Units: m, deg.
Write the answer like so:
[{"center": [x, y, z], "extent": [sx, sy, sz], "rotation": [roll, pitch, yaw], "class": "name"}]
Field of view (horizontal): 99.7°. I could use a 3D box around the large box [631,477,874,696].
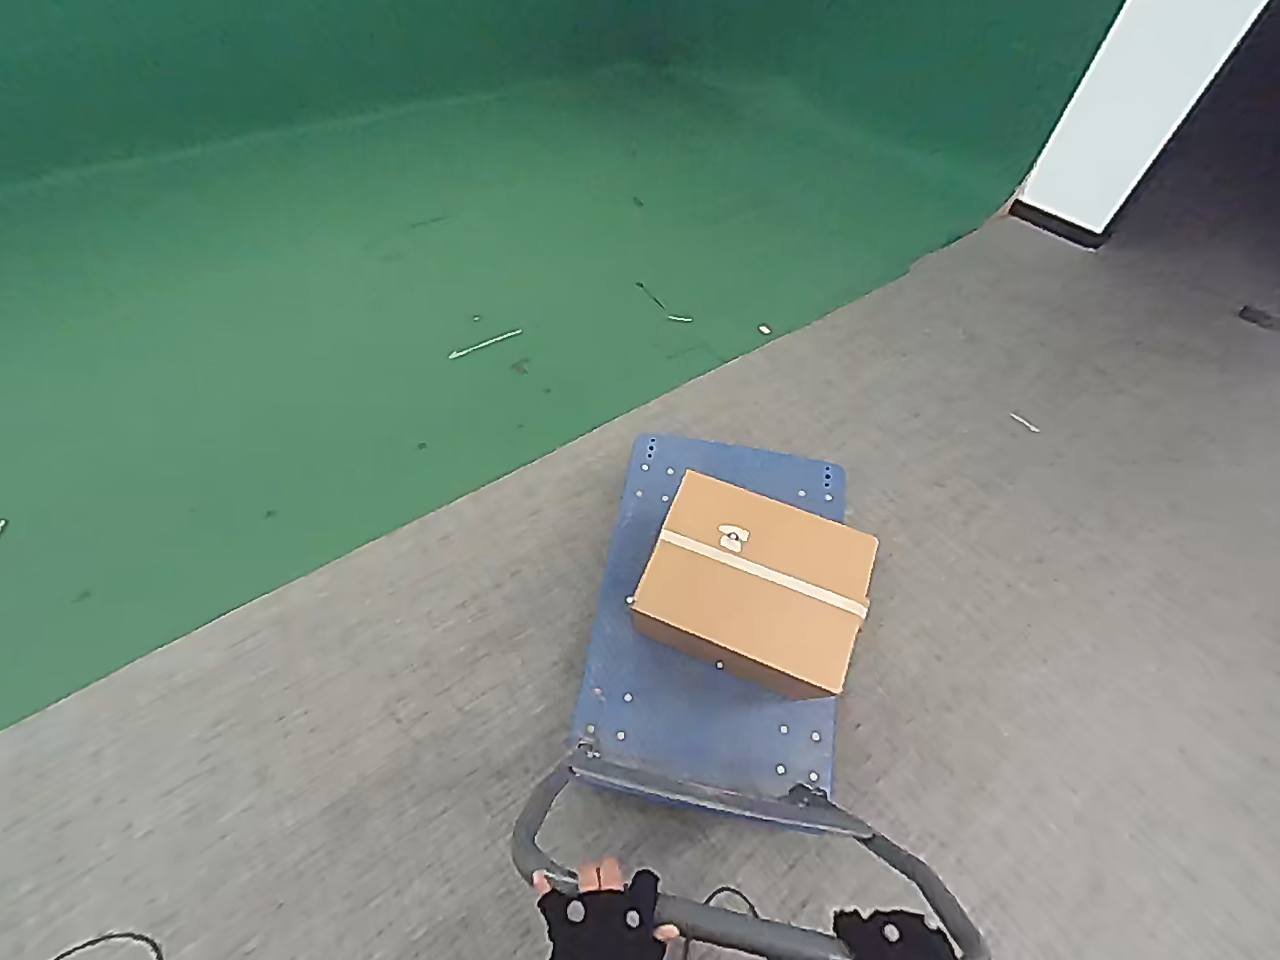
[{"center": [0.229, 0.243, 1.175], "extent": [0.408, 0.320, 0.320], "rotation": [20, 68, 11], "class": "large box"}]
